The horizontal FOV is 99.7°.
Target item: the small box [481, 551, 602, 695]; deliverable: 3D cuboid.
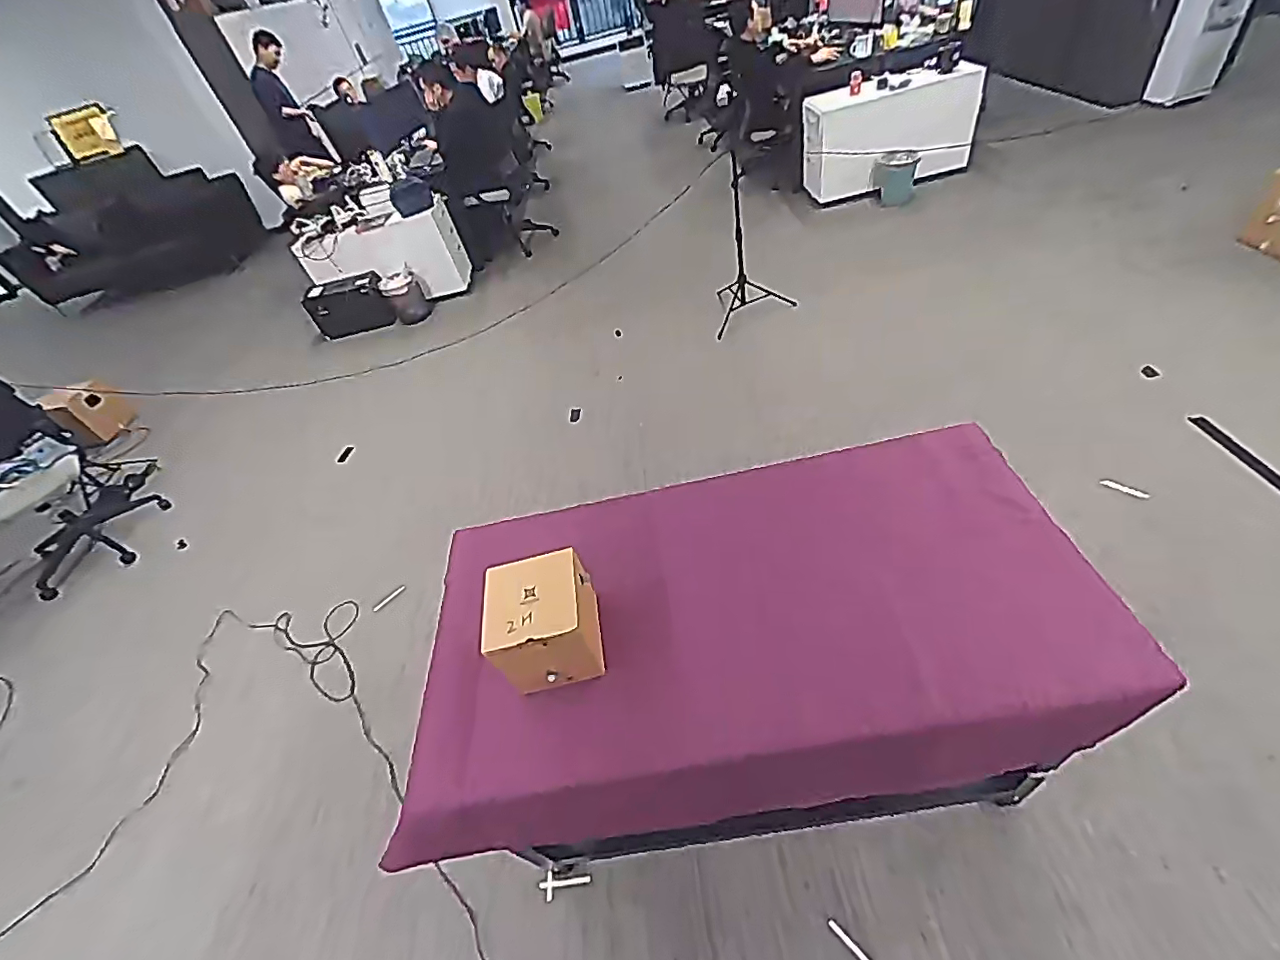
[{"bbox_3d":[-0.173,0.261,0.983,0.168,0.176,0.179,-15,45,2],"label":"small box"}]
